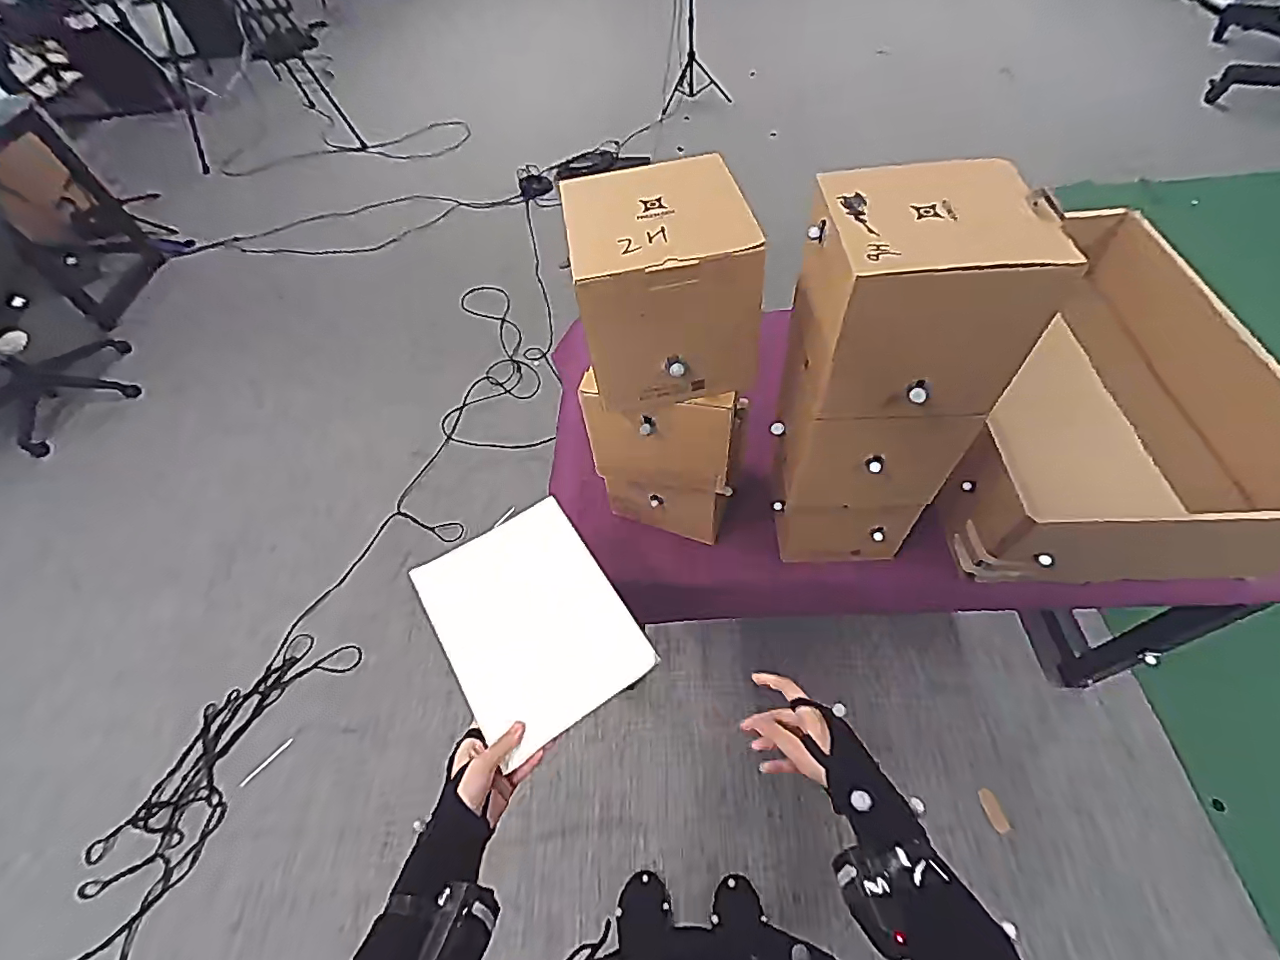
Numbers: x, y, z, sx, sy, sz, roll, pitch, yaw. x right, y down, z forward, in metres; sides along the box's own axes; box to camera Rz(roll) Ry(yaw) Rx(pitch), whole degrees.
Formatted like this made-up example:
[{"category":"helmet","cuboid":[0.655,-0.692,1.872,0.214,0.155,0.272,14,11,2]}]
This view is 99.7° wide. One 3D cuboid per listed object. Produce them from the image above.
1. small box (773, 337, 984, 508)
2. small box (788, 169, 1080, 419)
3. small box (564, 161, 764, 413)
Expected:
[{"category":"small box","cuboid":[0.268,-0.077,0.657,0.179,0.176,0.168,-2,53,5]},{"category":"small box","cuboid":[0.255,-0.173,0.524,0.179,0.176,0.168,-1,53,3]},{"category":"small box","cuboid":[0.020,-0.197,0.567,0.168,0.176,0.179,-11,55,0]}]
